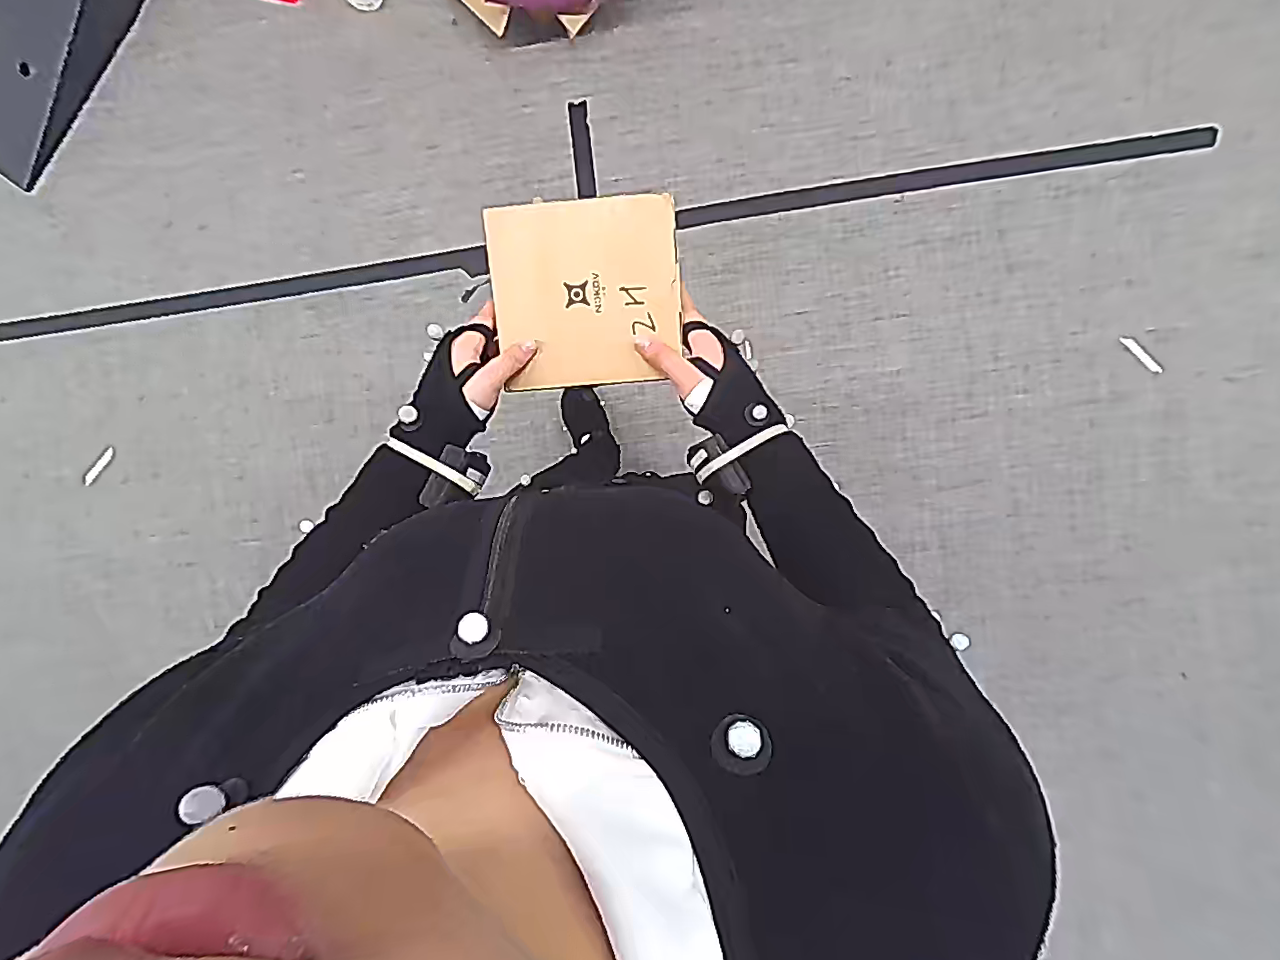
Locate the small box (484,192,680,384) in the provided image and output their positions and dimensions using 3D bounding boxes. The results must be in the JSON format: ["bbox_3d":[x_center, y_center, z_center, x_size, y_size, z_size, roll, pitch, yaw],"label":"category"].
[{"bbox_3d":[-0.051,-0.190,0.579,0.179,0.176,0.168,-3,101,0],"label":"small box"}]
